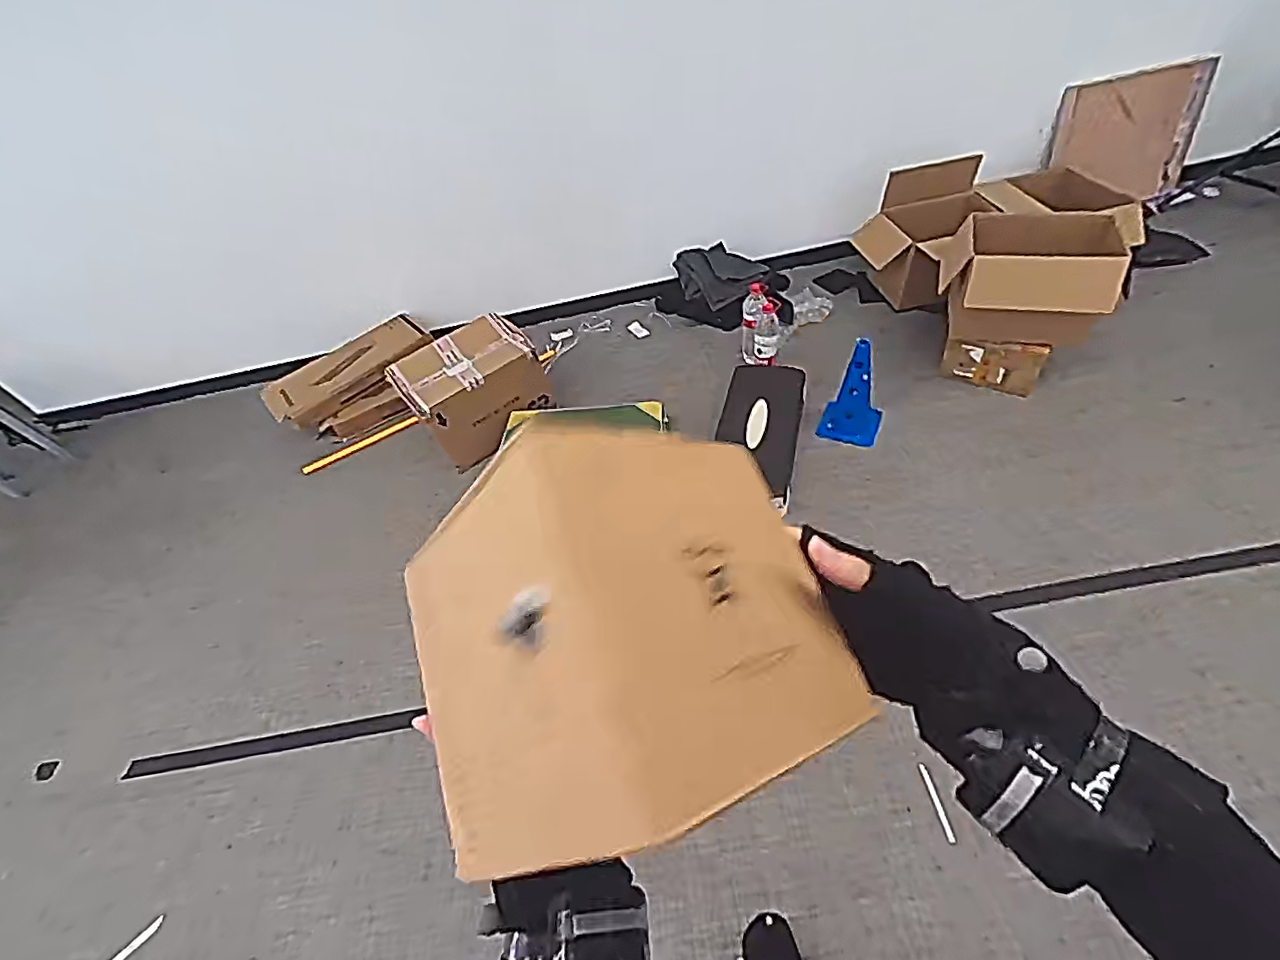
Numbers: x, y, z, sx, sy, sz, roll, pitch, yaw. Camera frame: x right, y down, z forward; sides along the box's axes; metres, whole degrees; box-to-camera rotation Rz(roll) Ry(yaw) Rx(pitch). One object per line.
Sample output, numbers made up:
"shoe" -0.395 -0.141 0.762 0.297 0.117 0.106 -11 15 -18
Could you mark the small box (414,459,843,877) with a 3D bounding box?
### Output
"small box" -0.024 0.106 0.330 0.168 0.176 0.179 -1 58 -39
